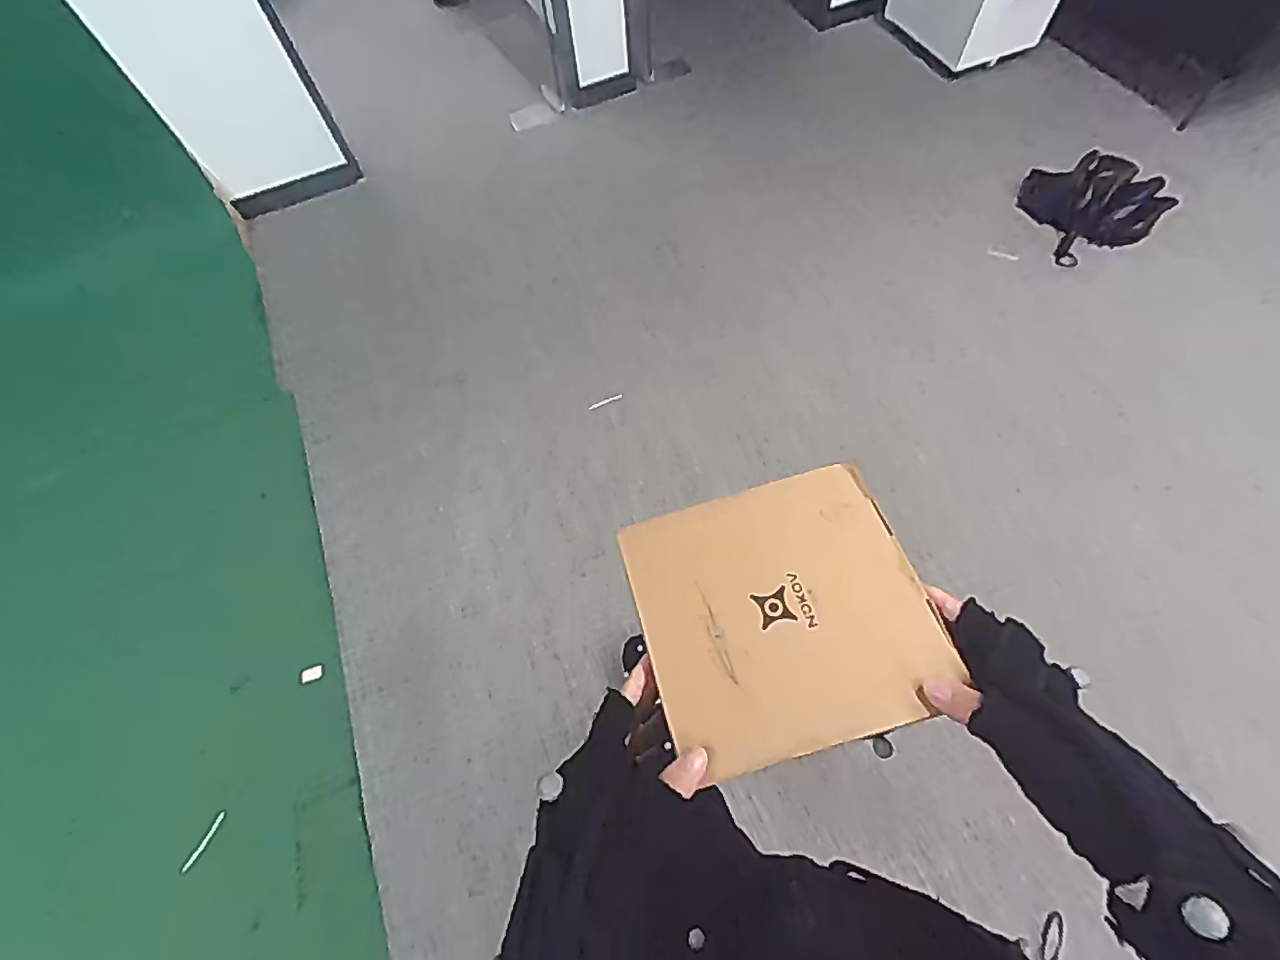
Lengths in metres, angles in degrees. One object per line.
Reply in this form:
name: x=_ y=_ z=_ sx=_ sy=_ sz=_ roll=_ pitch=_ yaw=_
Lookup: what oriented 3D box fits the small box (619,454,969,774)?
small box: x=0.098 y=0.110 z=0.415 sx=0.179 sy=0.176 sz=0.168 roll=-18 pitch=60 yaw=-1
